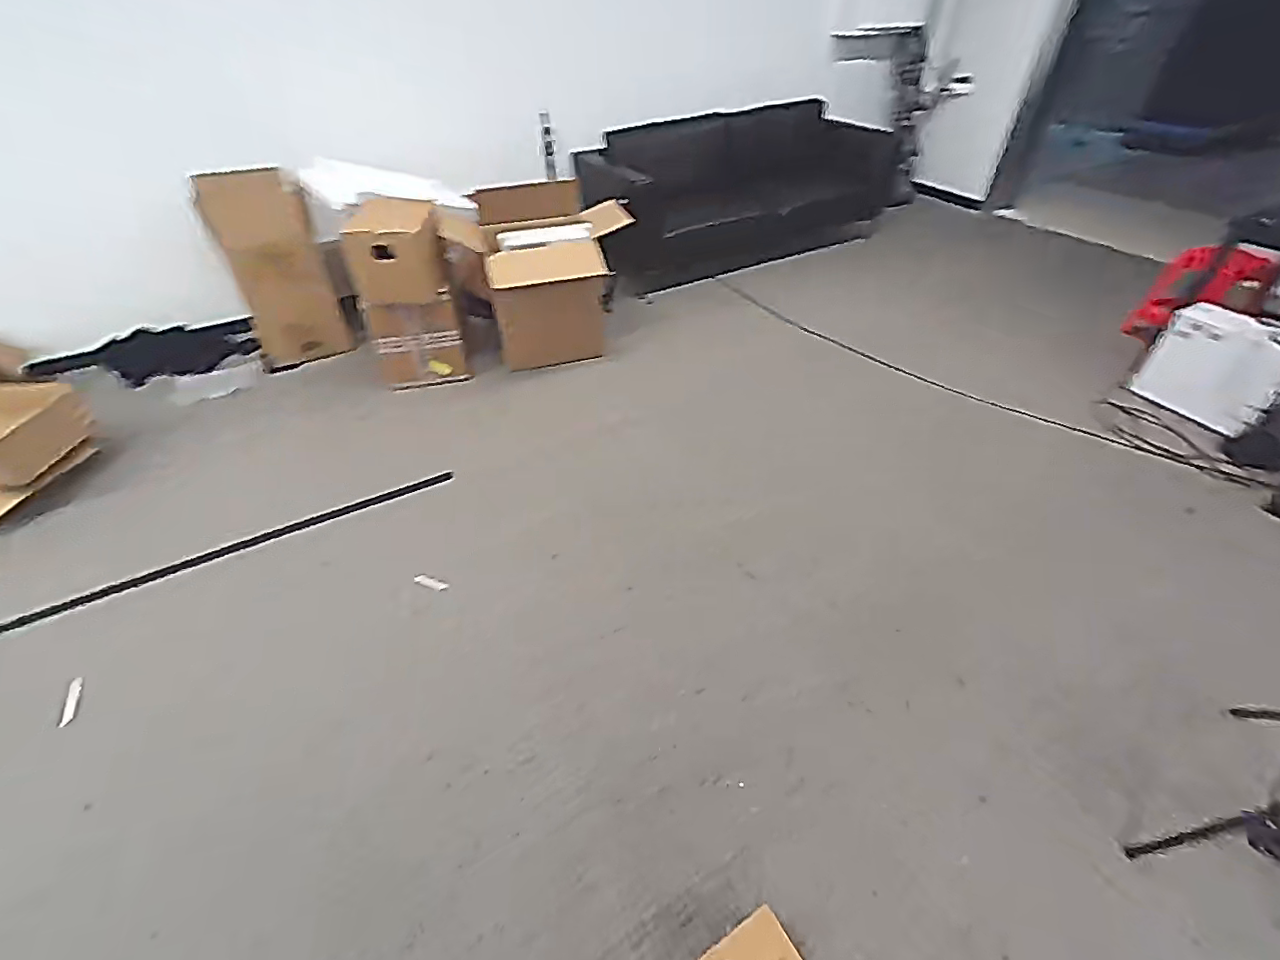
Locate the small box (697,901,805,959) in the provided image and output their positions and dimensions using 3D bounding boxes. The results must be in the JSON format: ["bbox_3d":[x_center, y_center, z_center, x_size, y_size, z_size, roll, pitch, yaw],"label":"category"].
[{"bbox_3d":[0.224,0.975,1.049,0.179,0.176,0.168,-22,47,-22],"label":"small box"}]
